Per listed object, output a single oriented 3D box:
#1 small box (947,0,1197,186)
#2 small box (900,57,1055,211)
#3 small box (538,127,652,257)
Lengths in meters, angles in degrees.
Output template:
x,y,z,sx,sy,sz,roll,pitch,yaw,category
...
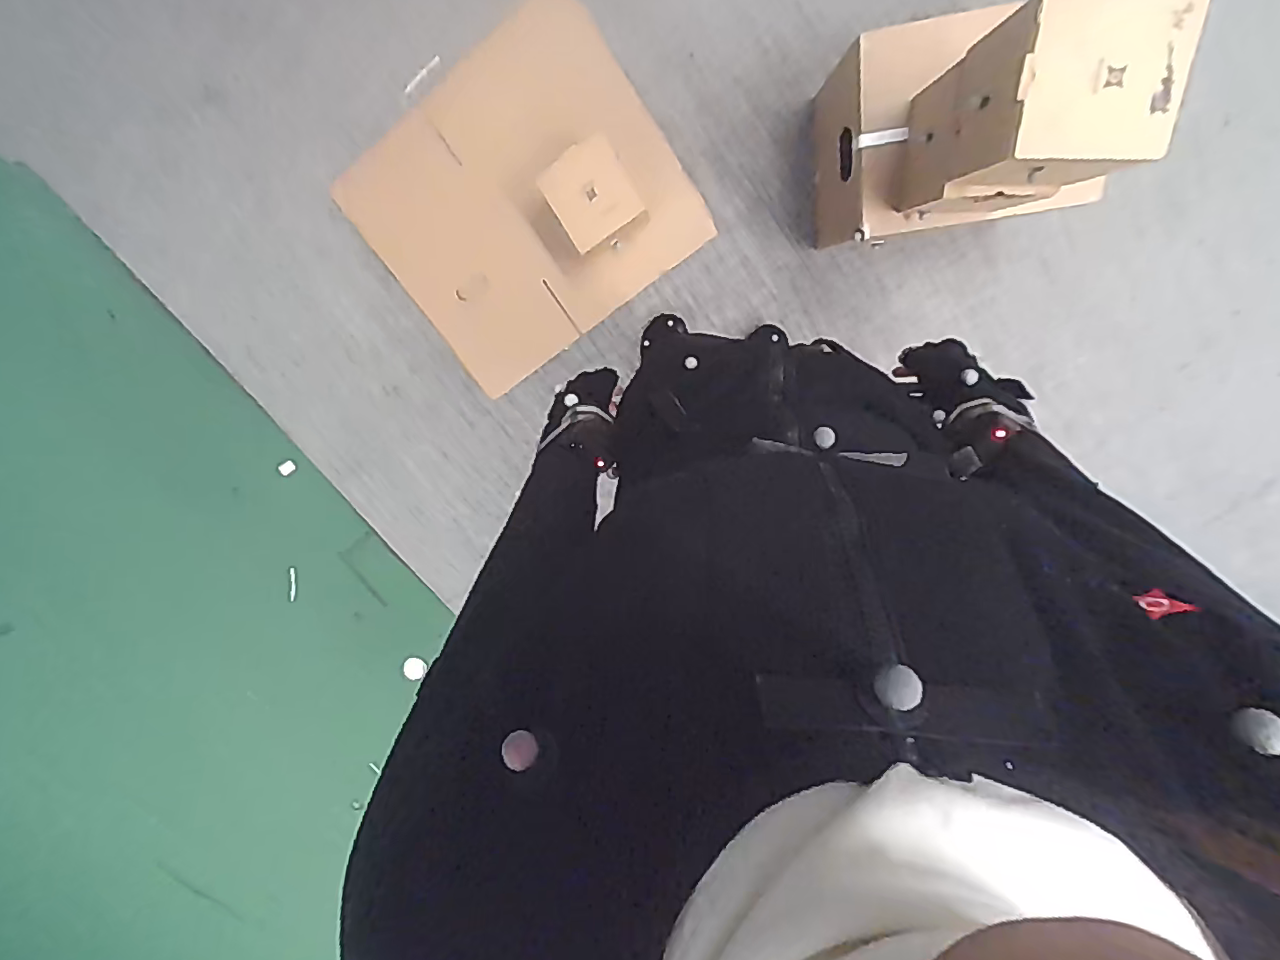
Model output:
x,y,z,sx,sy,sz,roll,pitch,yaw,category
0.519,-0.479,0.680,0.179,0.176,0.168,-1,107,3,small box
0.523,-0.521,0.836,0.168,0.176,0.179,1,109,3,small box
-0.088,-0.603,1.161,0.168,0.176,0.179,-31,105,14,small box
